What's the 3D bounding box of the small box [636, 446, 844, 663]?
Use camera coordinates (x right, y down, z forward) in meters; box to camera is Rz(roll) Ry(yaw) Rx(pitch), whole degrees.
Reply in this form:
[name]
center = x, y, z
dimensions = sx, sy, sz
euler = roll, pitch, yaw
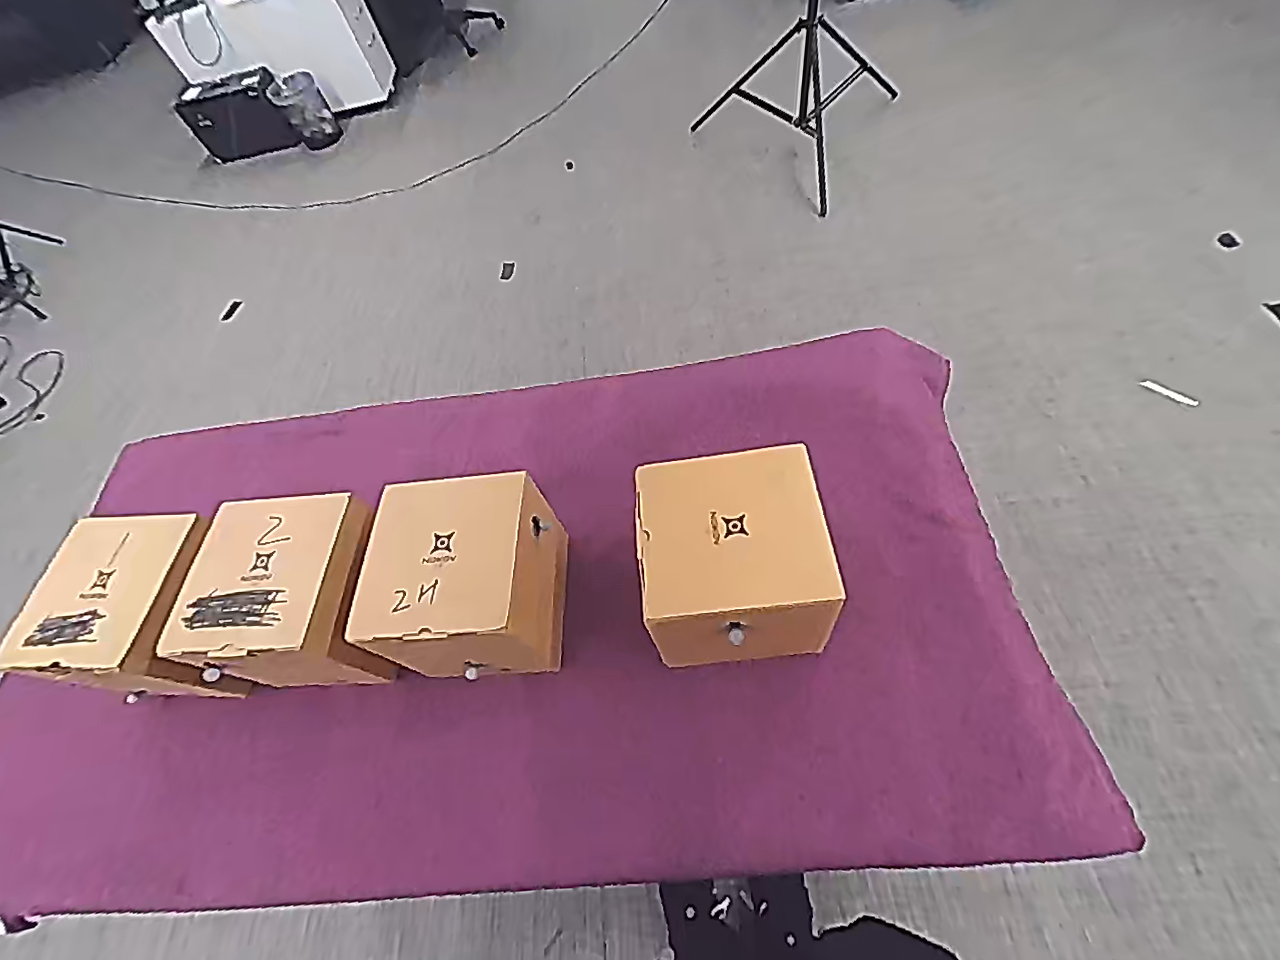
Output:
[small box]
center = 0.098, 0.087, 0.576
dimensions = 0.179, 0.176, 0.168
euler = -8, 57, 7
